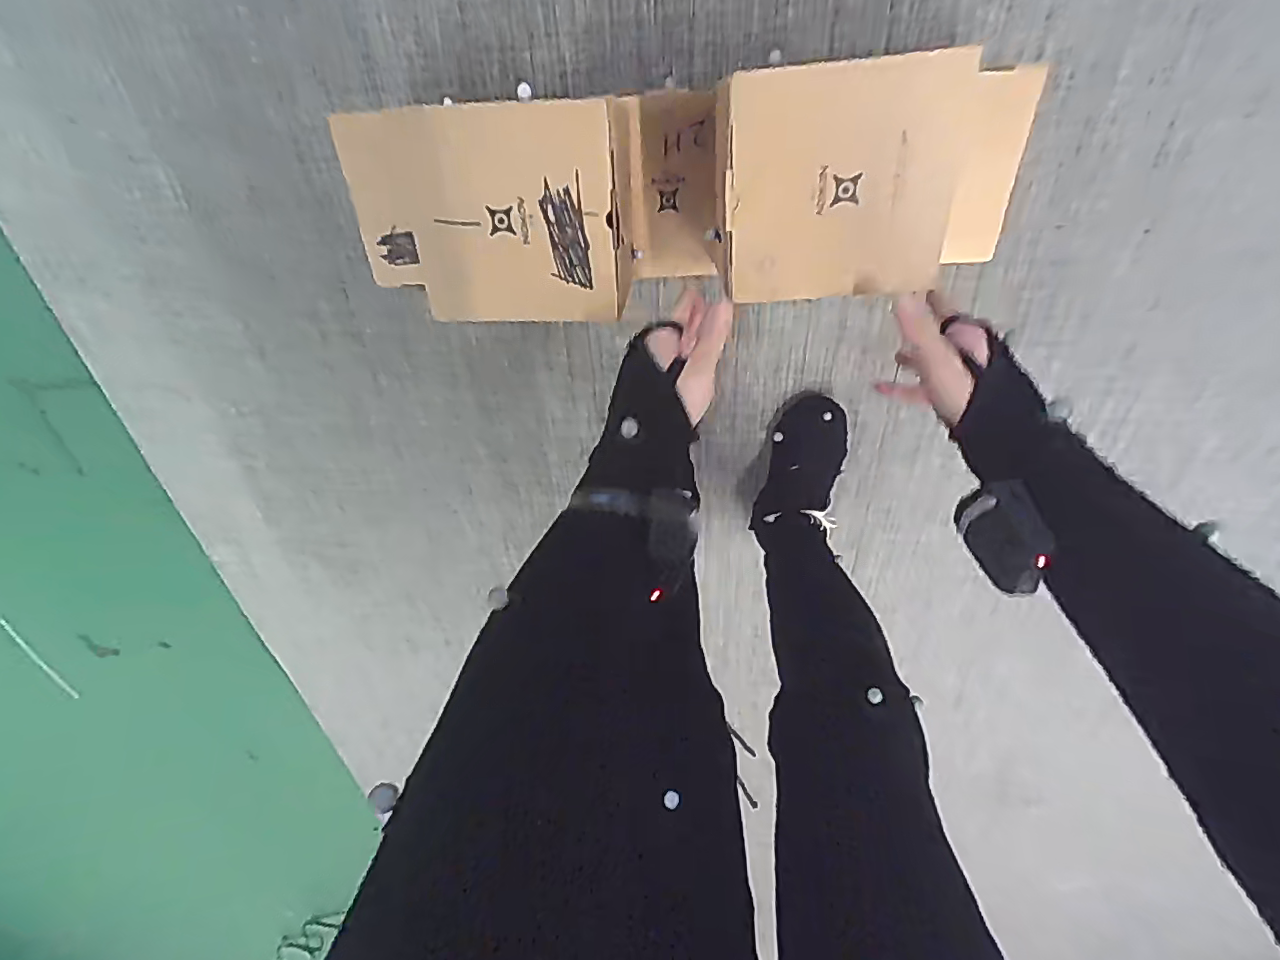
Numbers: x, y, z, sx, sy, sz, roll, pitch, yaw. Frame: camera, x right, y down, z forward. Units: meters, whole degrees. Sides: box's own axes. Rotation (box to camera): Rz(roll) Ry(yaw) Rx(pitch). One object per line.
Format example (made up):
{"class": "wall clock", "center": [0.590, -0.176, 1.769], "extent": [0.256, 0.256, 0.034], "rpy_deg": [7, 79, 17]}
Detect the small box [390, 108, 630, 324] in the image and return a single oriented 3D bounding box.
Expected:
{"class": "small box", "center": [-0.101, -0.257, 0.519], "extent": [0.179, 0.176, 0.168], "rpy_deg": [2, 122, 4]}

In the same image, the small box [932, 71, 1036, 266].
{"class": "small box", "center": [0.302, -0.356, 0.626], "extent": [0.168, 0.176, 0.179], "rpy_deg": [-1, 122, 5]}

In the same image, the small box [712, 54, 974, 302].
{"class": "small box", "center": [0.157, -0.270, 0.495], "extent": [0.179, 0.176, 0.168], "rpy_deg": [-3, 123, 4]}
